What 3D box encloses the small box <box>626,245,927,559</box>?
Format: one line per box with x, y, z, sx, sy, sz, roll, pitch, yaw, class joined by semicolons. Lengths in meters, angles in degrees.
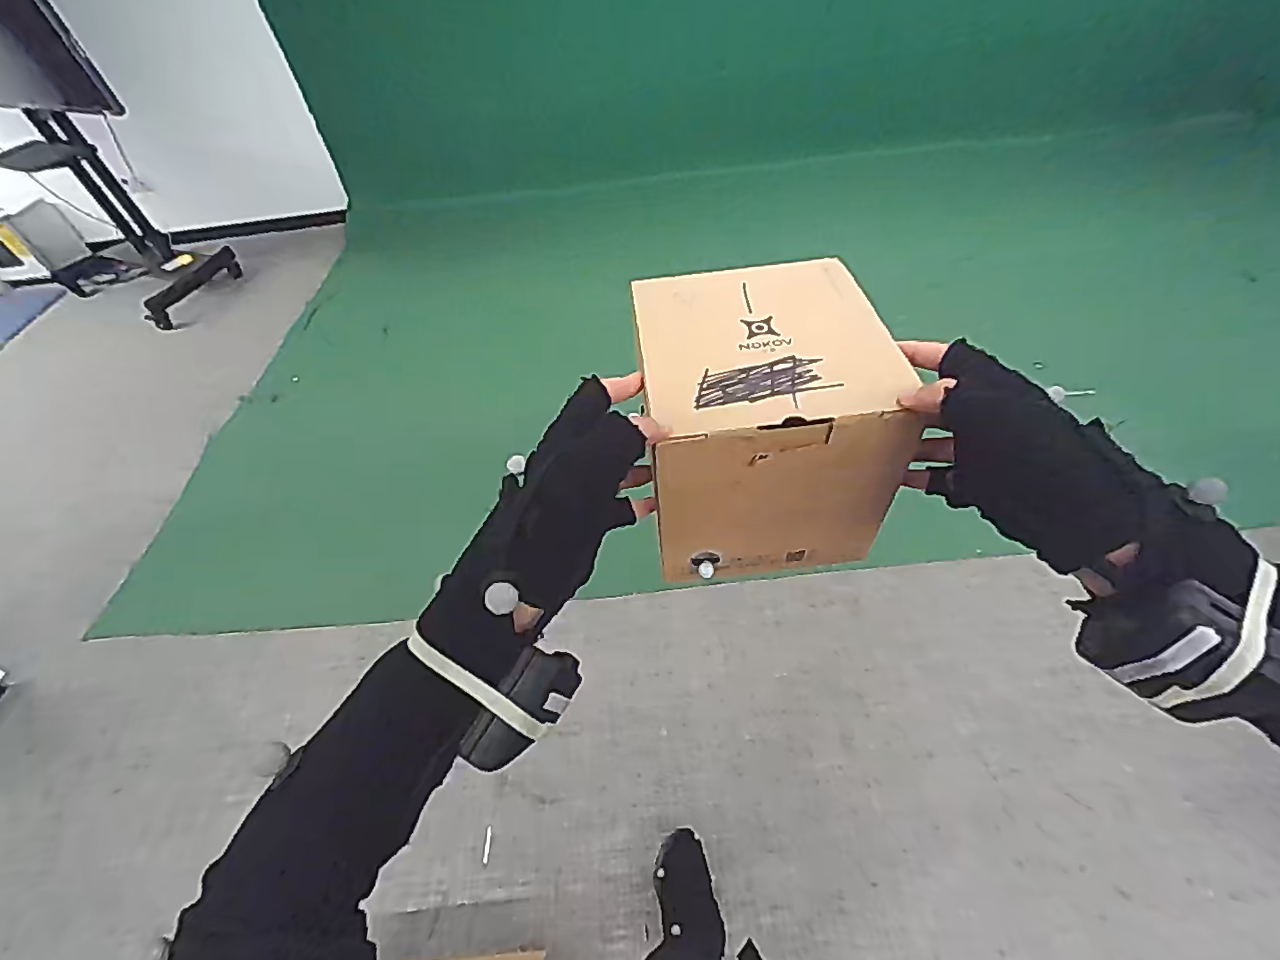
0.083;-0.052;0.419;0.168;0.176;0.179;-6;50;0;small box
